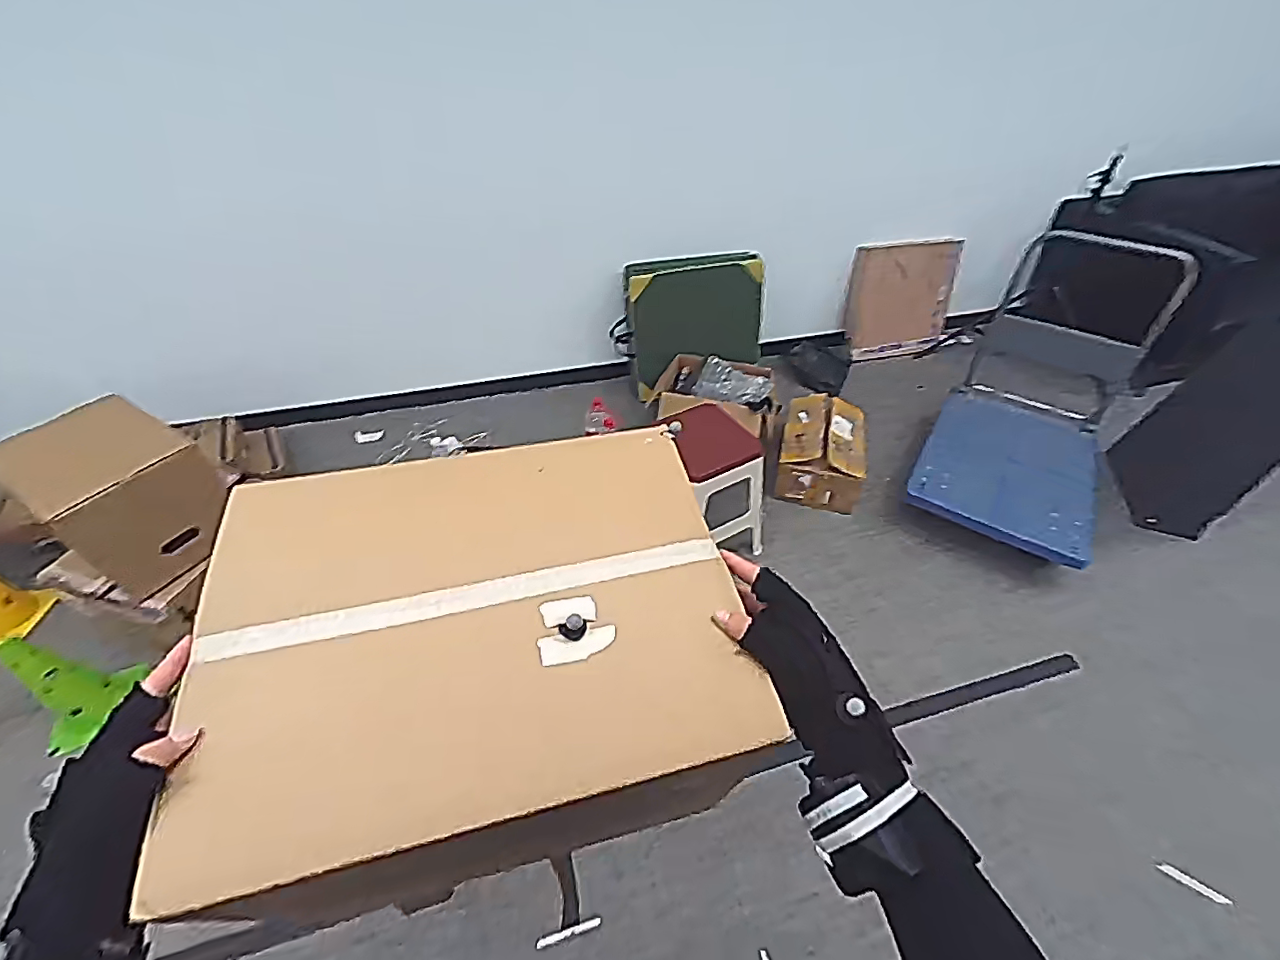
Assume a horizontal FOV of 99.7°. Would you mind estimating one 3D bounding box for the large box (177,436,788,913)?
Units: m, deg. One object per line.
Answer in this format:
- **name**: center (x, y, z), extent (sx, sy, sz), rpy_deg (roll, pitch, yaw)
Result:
- **large box**: center (-0.129, 0.192, 0.557), extent (0.408, 0.320, 0.320), rpy_deg (-8, 53, -13)
